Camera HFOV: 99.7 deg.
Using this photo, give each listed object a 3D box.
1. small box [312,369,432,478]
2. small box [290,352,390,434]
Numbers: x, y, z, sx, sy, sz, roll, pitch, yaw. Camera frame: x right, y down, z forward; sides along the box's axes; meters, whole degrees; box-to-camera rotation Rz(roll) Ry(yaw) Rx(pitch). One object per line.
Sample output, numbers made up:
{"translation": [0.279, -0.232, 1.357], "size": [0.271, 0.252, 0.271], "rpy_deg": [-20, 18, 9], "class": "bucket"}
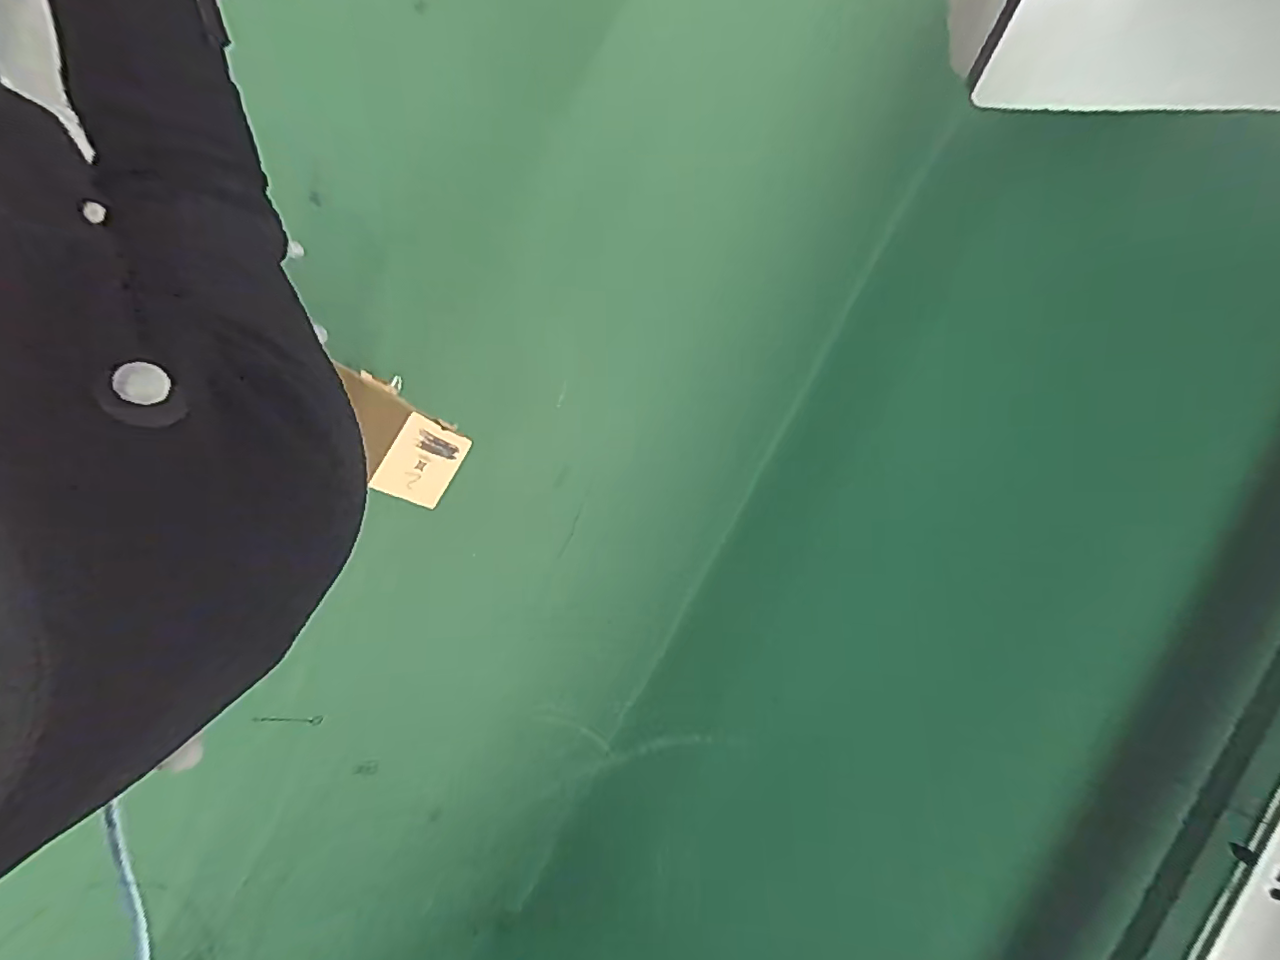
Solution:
{"translation": [-0.637, -0.135, 1.276], "size": [0.179, 0.176, 0.168], "rpy_deg": [-61, 145, -3], "class": "small box"}
{"translation": [-0.752, -0.196, 1.373], "size": [0.179, 0.176, 0.168], "rpy_deg": [-61, 146, -2], "class": "small box"}
